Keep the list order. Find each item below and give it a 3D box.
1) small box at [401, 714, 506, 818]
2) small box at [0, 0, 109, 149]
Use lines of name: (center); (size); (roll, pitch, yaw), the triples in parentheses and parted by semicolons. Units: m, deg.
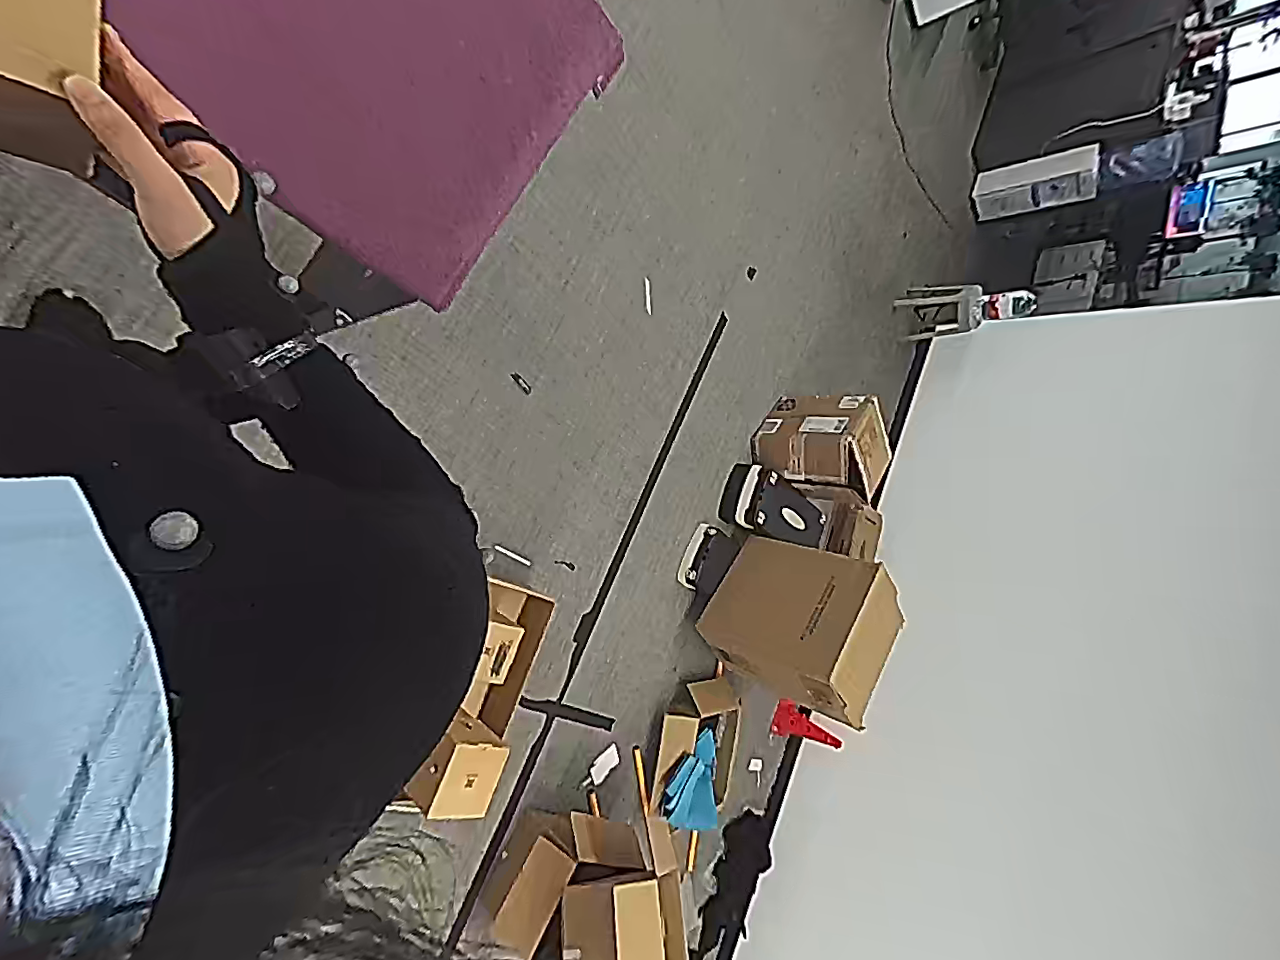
small box: (-0.478, 0.722, 1.371); (0.168, 0.176, 0.179); (33, 73, -42)
small box: (-0.408, -0.309, 0.287); (0.179, 0.176, 0.168); (1, 99, -48)
